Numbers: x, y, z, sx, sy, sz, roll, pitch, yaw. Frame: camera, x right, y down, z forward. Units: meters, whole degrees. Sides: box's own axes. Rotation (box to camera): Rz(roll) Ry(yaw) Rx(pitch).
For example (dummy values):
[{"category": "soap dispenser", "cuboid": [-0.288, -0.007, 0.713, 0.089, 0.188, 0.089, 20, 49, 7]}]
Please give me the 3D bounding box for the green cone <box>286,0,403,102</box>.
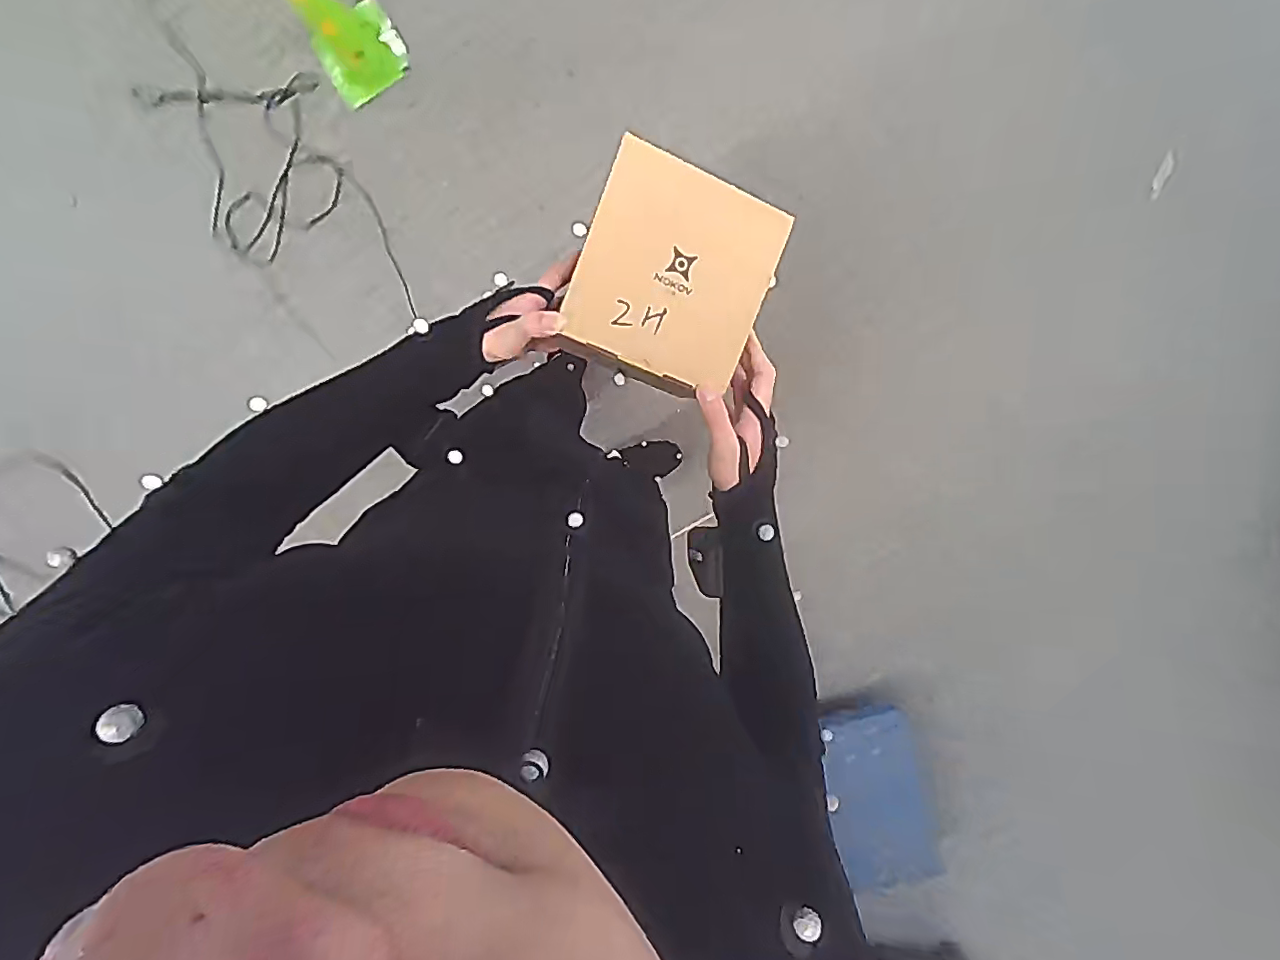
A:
[{"category": "green cone", "cuboid": [-0.747, -1.090, 1.232, 0.202, 0.368, 0.200, -28, 98, 8]}]
